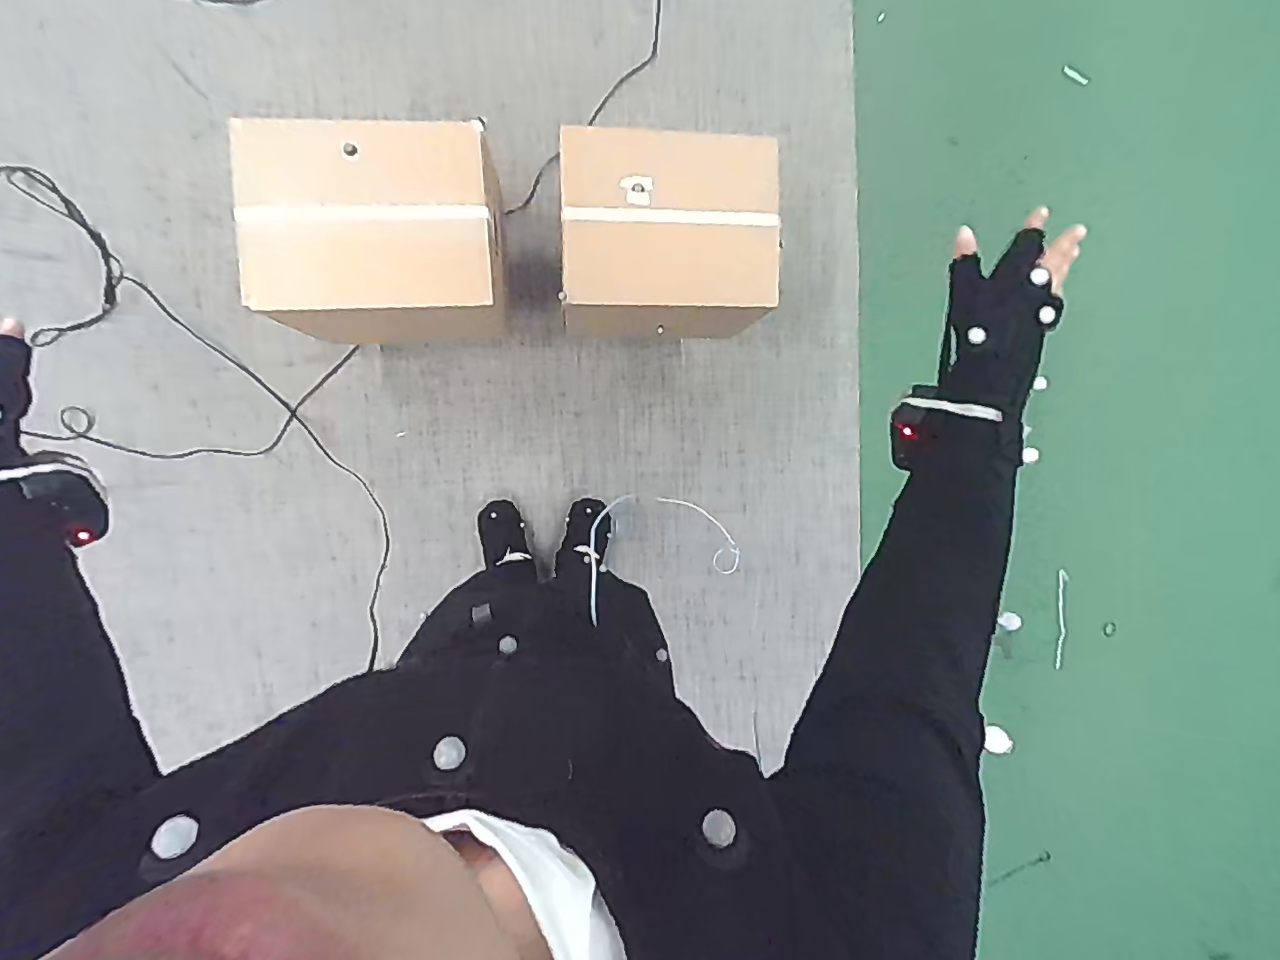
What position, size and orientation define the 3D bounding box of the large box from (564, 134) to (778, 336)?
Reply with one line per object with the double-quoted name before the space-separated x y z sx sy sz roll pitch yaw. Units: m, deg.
"large box" 0.049 -0.487 1.150 0.408 0.320 0.320 -1 93 -7
